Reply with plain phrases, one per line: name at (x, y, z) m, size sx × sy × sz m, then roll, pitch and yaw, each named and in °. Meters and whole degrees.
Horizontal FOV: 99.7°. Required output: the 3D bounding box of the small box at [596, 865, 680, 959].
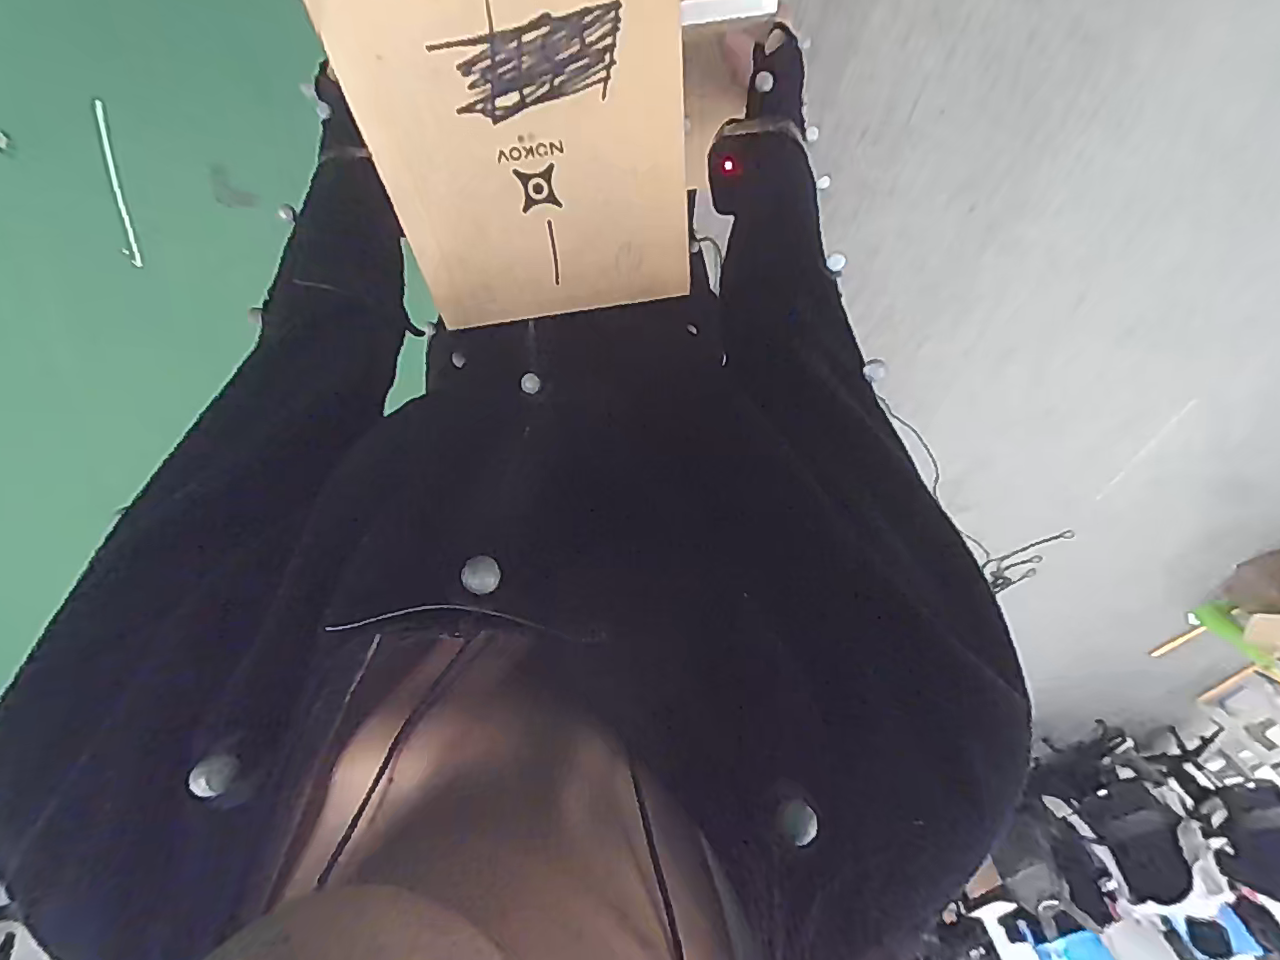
small box at (-0.012, 1.150, 1.440) m, size 0.179 × 0.176 × 0.168 m, roll 6°, pitch 128°, yaw -15°

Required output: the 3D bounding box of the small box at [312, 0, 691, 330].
small box at (-0.064, -0.225, 0.343) m, size 0.168 × 0.176 × 0.179 m, roll -8°, pitch 138°, yaw 0°
